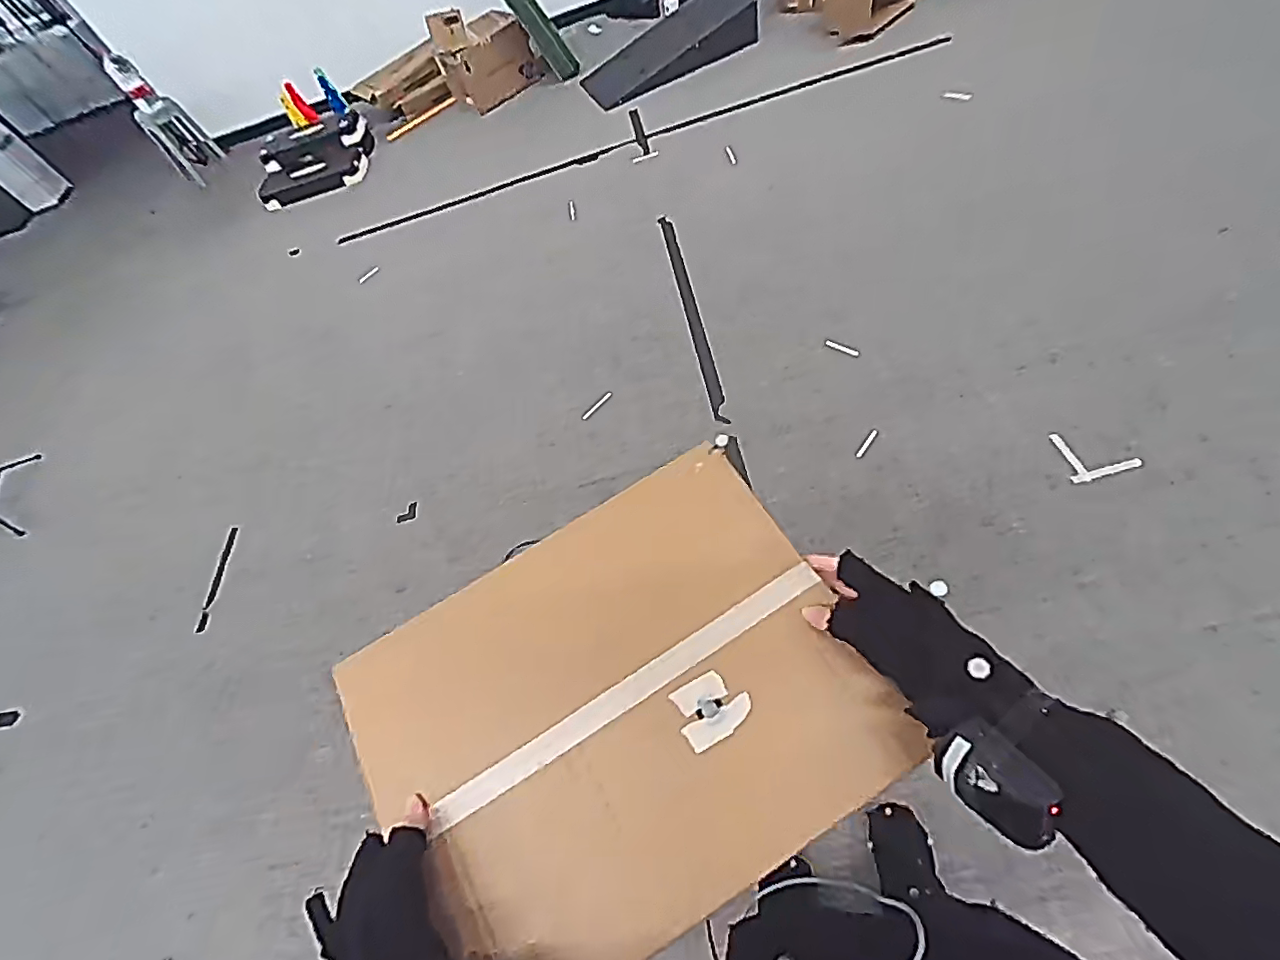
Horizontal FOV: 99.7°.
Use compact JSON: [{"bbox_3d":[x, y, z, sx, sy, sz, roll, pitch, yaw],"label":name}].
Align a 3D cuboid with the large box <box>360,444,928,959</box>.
[{"bbox_3d":[0.001,0.240,0.594,0.408,0.320,0.320,-31,67,-7],"label":"large box"}]
